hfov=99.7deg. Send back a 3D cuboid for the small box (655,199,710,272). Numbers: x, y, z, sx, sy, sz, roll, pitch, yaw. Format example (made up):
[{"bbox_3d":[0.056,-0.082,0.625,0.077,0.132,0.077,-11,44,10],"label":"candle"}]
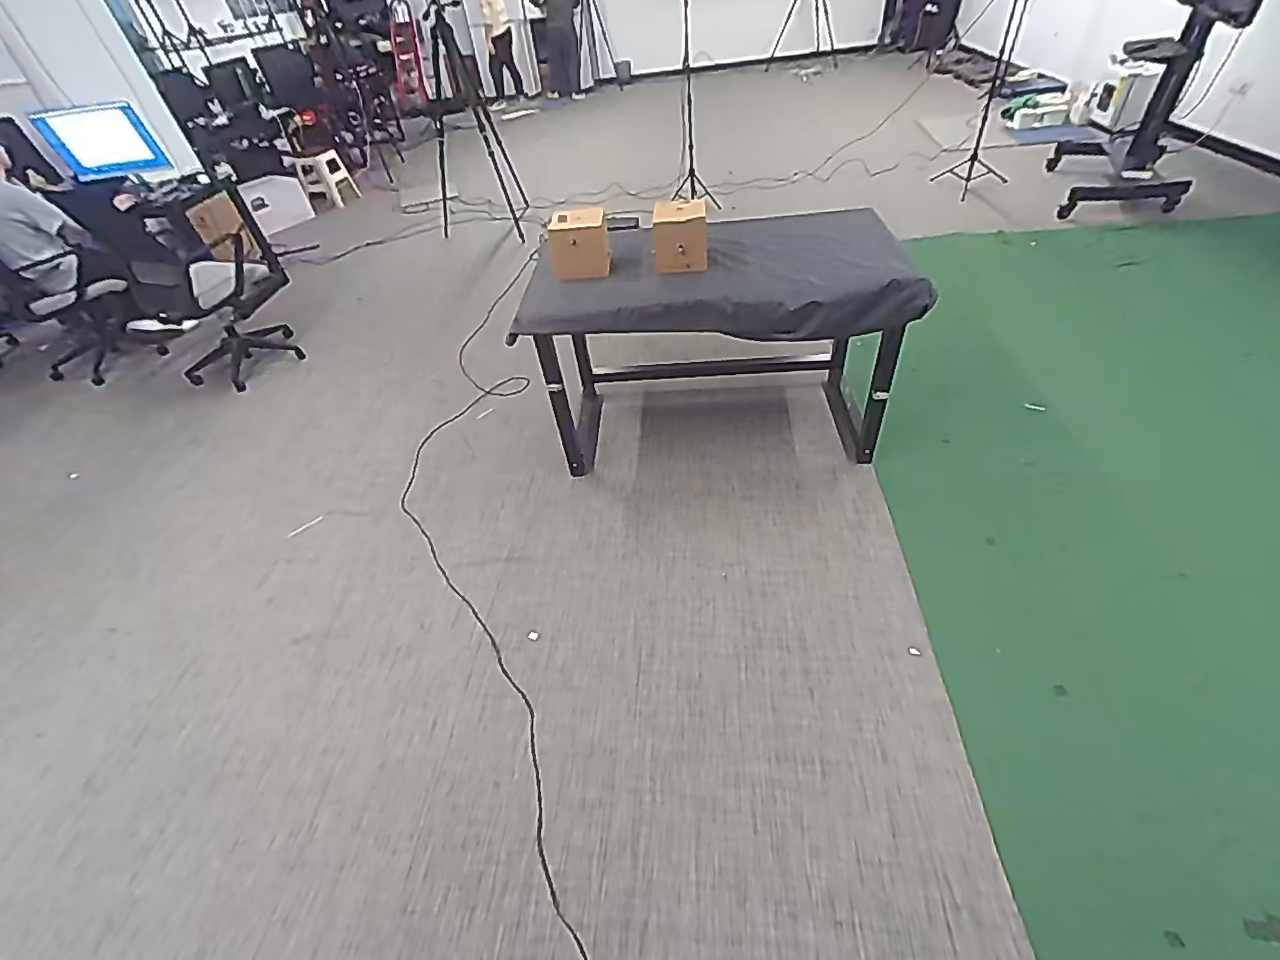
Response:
[{"bbox_3d":[0.143,-0.790,1.760,0.168,0.176,0.179,-1,45,7],"label":"small box"}]

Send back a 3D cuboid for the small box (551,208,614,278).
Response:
[{"bbox_3d":[-0.186,-0.786,1.802,0.179,0.176,0.168,-3,44,4],"label":"small box"}]
